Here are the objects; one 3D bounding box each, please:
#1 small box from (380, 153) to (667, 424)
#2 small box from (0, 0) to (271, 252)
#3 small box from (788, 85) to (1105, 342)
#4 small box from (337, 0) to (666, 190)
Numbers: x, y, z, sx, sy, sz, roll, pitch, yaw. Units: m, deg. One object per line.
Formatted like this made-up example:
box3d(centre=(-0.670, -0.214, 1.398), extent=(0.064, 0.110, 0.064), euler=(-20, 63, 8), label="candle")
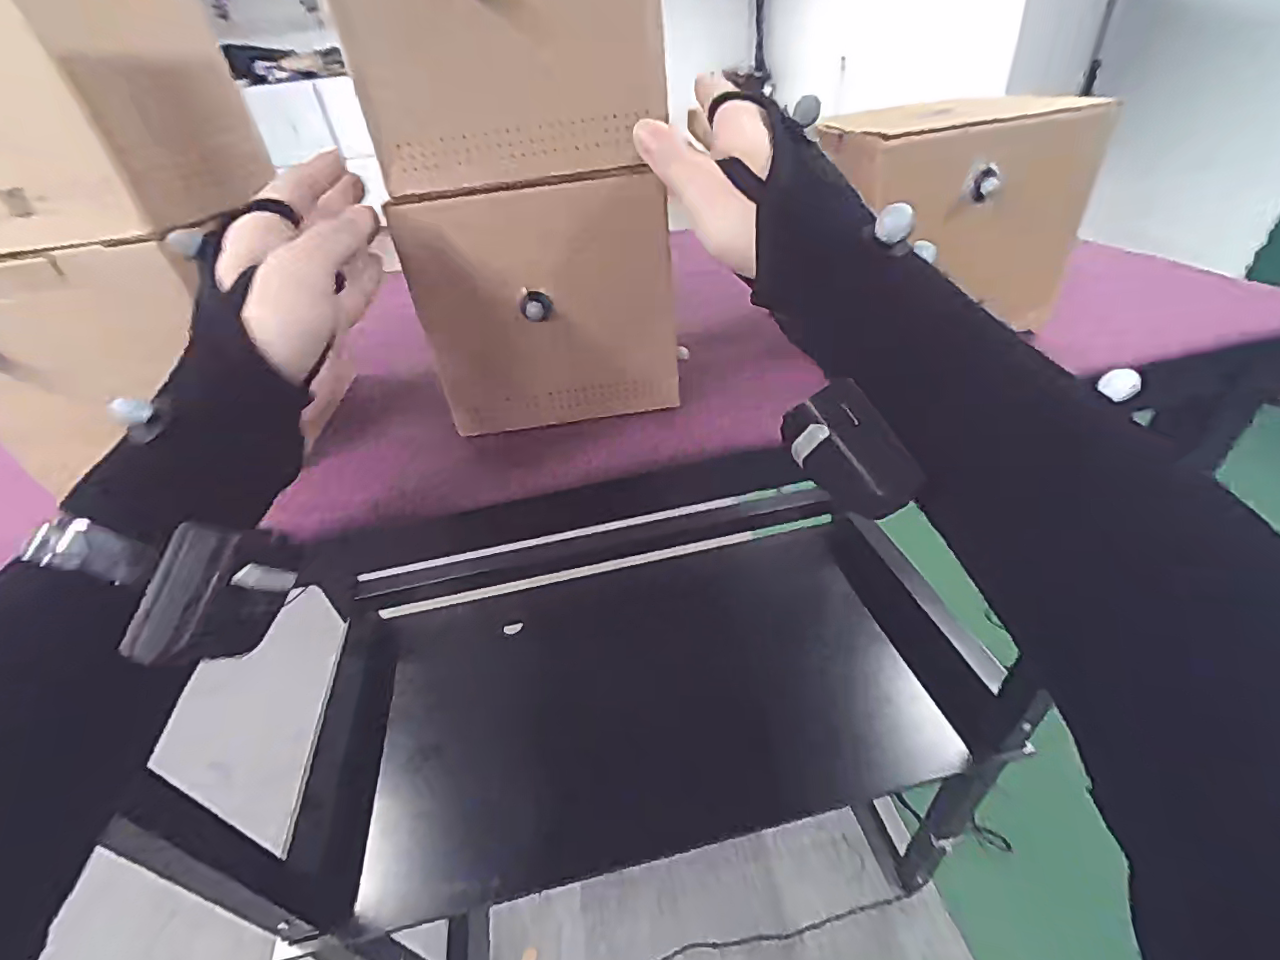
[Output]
box3d(centre=(-0.074, -0.166, 0.446), extent=(0.179, 0.176, 0.168), euler=(-9, 37, -1), label="small box")
box3d(centre=(-0.376, -0.245, 0.334), extent=(0.168, 0.176, 0.179), euler=(-9, 36, -2), label="small box")
box3d(centre=(0.240, -0.236, 0.481), extent=(0.179, 0.176, 0.168), euler=(-9, 37, -1), label="small box")
box3d(centre=(-0.088, -0.300, 0.353), extent=(0.179, 0.176, 0.168), euler=(-11, 37, -3), label="small box")
